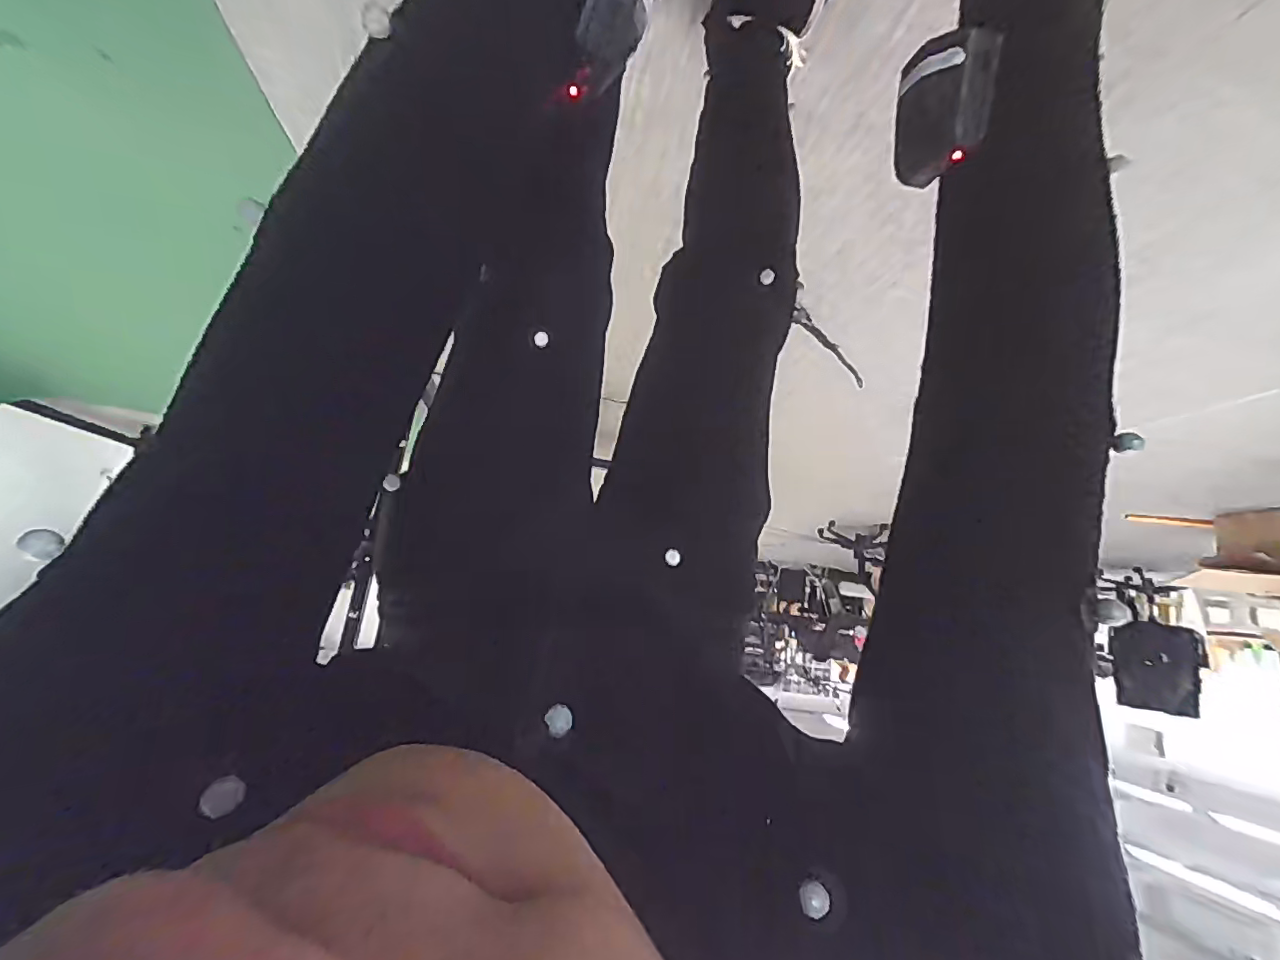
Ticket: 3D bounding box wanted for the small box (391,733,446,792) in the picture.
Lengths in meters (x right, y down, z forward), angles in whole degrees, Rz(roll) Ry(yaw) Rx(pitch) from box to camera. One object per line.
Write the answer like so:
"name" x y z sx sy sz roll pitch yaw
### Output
"small box" -0.888 1.129 2.174 0.168 0.176 0.179 11 169 -13
